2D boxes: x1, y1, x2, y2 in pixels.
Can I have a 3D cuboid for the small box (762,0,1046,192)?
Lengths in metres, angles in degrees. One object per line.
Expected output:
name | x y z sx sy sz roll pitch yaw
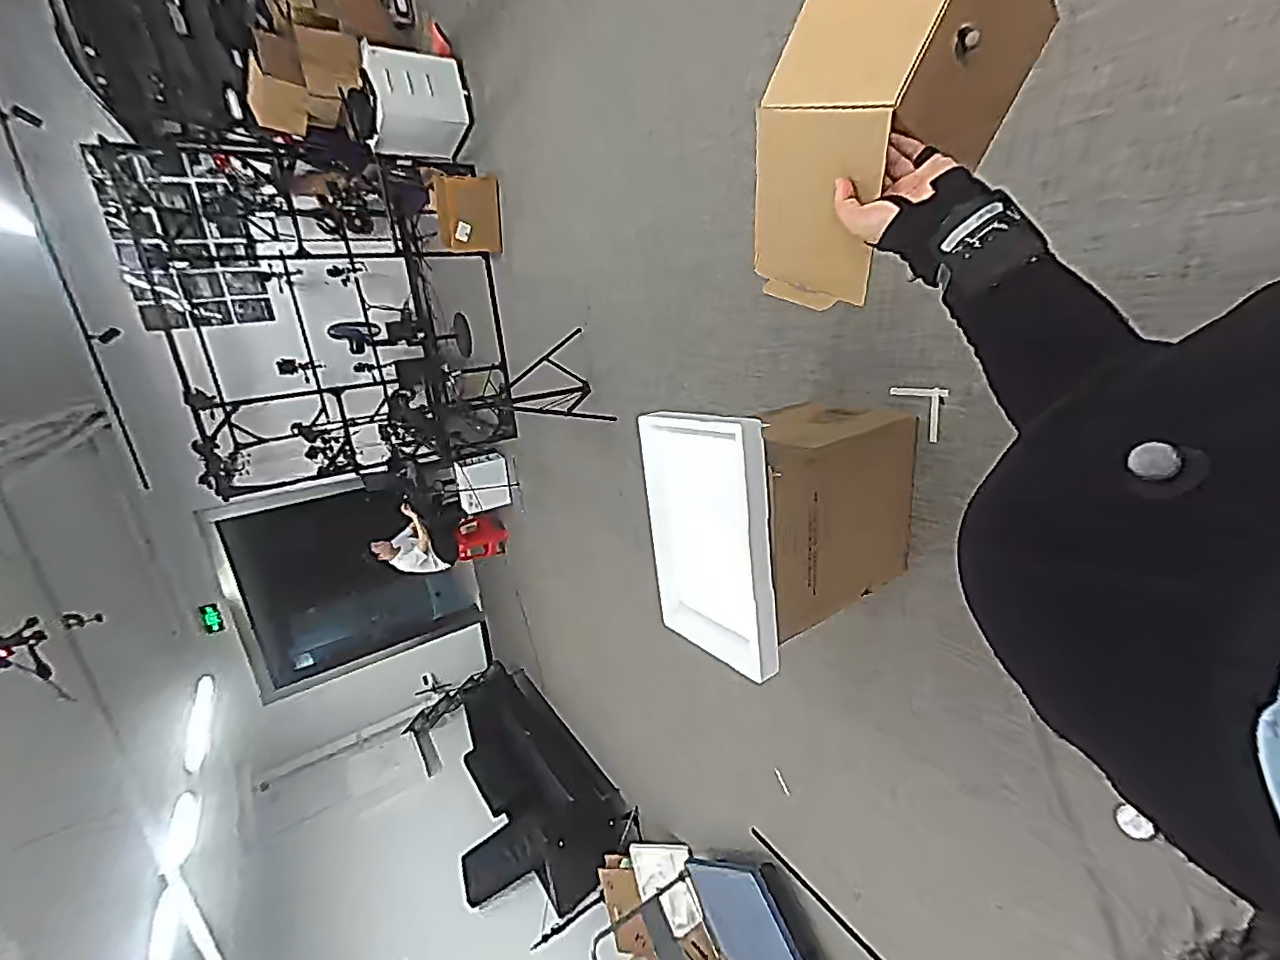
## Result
small box | 0.264 -0.419 0.545 0.168 0.176 0.179 41 111 44
